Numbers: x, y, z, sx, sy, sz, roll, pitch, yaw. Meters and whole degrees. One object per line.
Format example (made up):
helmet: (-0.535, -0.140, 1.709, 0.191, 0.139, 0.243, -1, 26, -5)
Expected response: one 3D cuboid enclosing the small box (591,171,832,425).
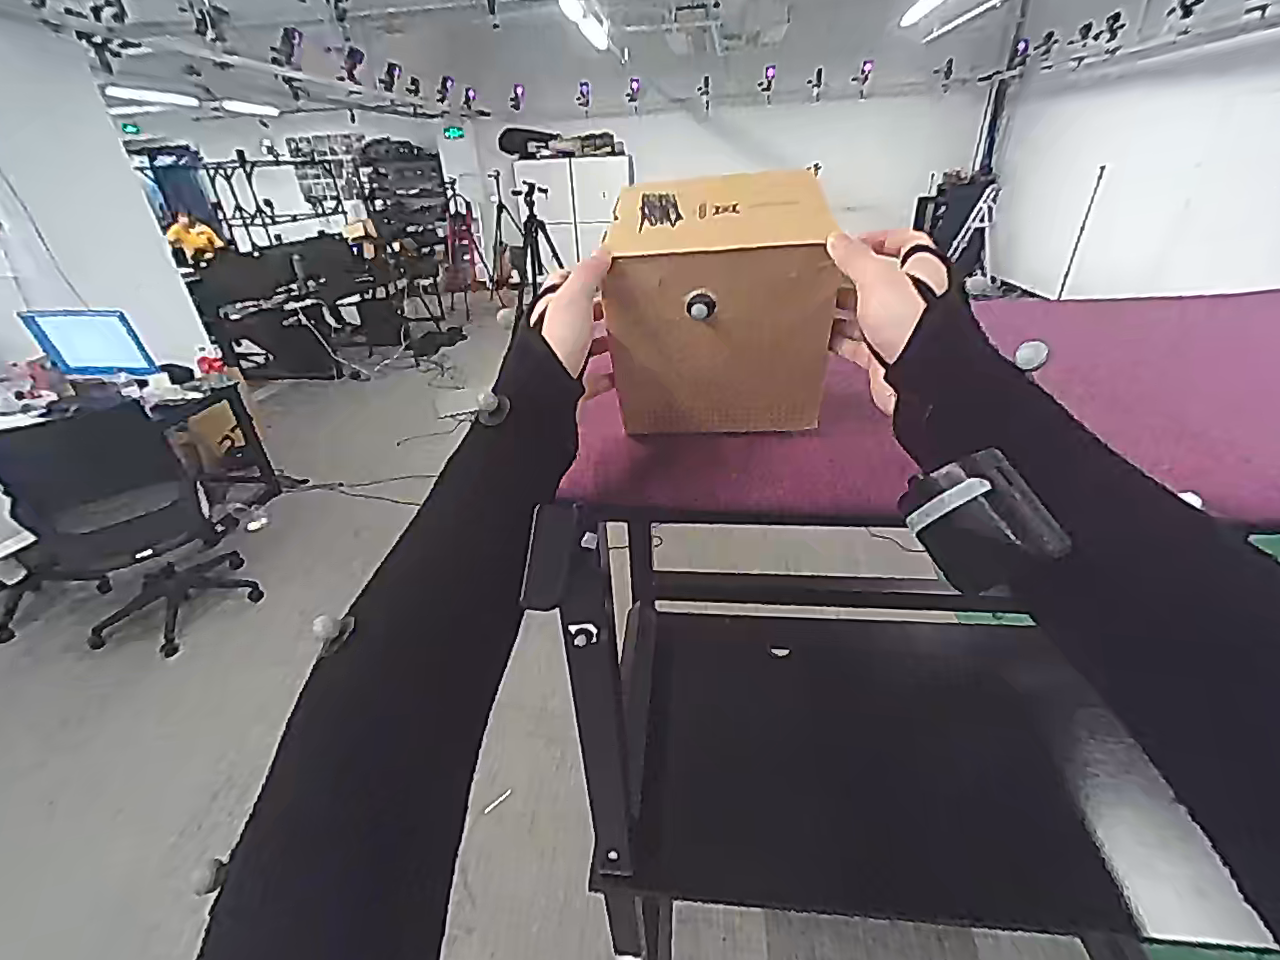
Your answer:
small box: (0.066, -0.162, 0.496, 0.179, 0.176, 0.168, 0, 44, 8)
